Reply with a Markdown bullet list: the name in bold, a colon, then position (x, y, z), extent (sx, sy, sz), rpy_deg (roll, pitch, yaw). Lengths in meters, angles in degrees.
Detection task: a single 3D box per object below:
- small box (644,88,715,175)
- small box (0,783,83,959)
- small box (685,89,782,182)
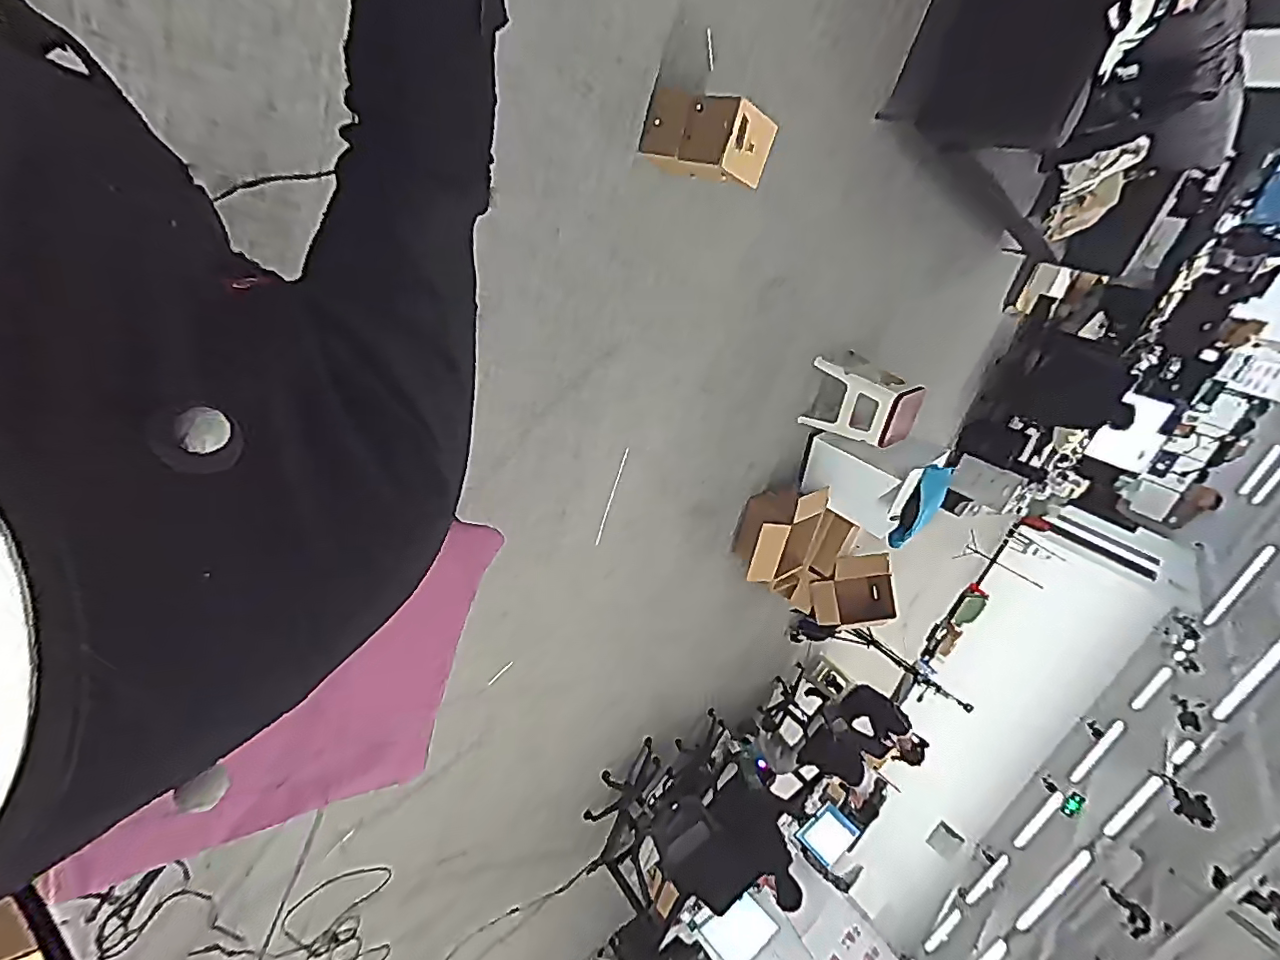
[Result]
- **small box**: position (0.145, -1.027, 1.589), extent (0.179, 0.176, 0.168), rpy_deg (-1, 119, -45)
- **small box**: position (-0.622, 0.411, 0.475), extent (0.179, 0.176, 0.168), rpy_deg (3, 117, -47)
- **small box**: position (0.253, -0.949, 1.494), extent (0.179, 0.176, 0.168), rpy_deg (-3, 121, -45)
